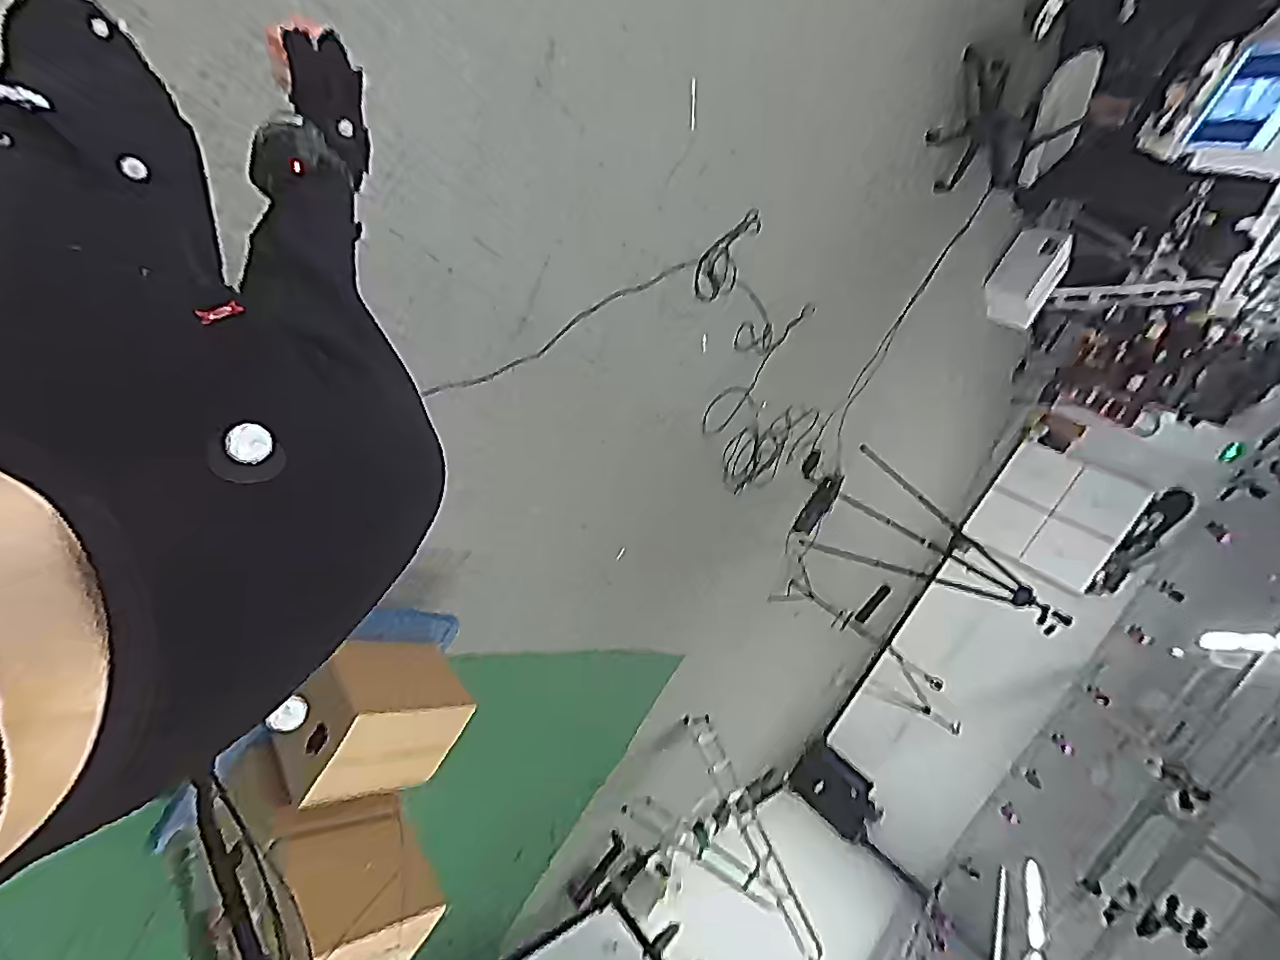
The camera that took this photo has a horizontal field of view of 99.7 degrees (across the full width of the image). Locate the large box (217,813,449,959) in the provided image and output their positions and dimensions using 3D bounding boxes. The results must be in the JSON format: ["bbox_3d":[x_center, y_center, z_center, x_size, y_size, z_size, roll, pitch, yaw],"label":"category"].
[{"bbox_3d":[-0.822,1.183,1.464,0.320,0.320,0.408,-54,145,3],"label":"large box"}]
